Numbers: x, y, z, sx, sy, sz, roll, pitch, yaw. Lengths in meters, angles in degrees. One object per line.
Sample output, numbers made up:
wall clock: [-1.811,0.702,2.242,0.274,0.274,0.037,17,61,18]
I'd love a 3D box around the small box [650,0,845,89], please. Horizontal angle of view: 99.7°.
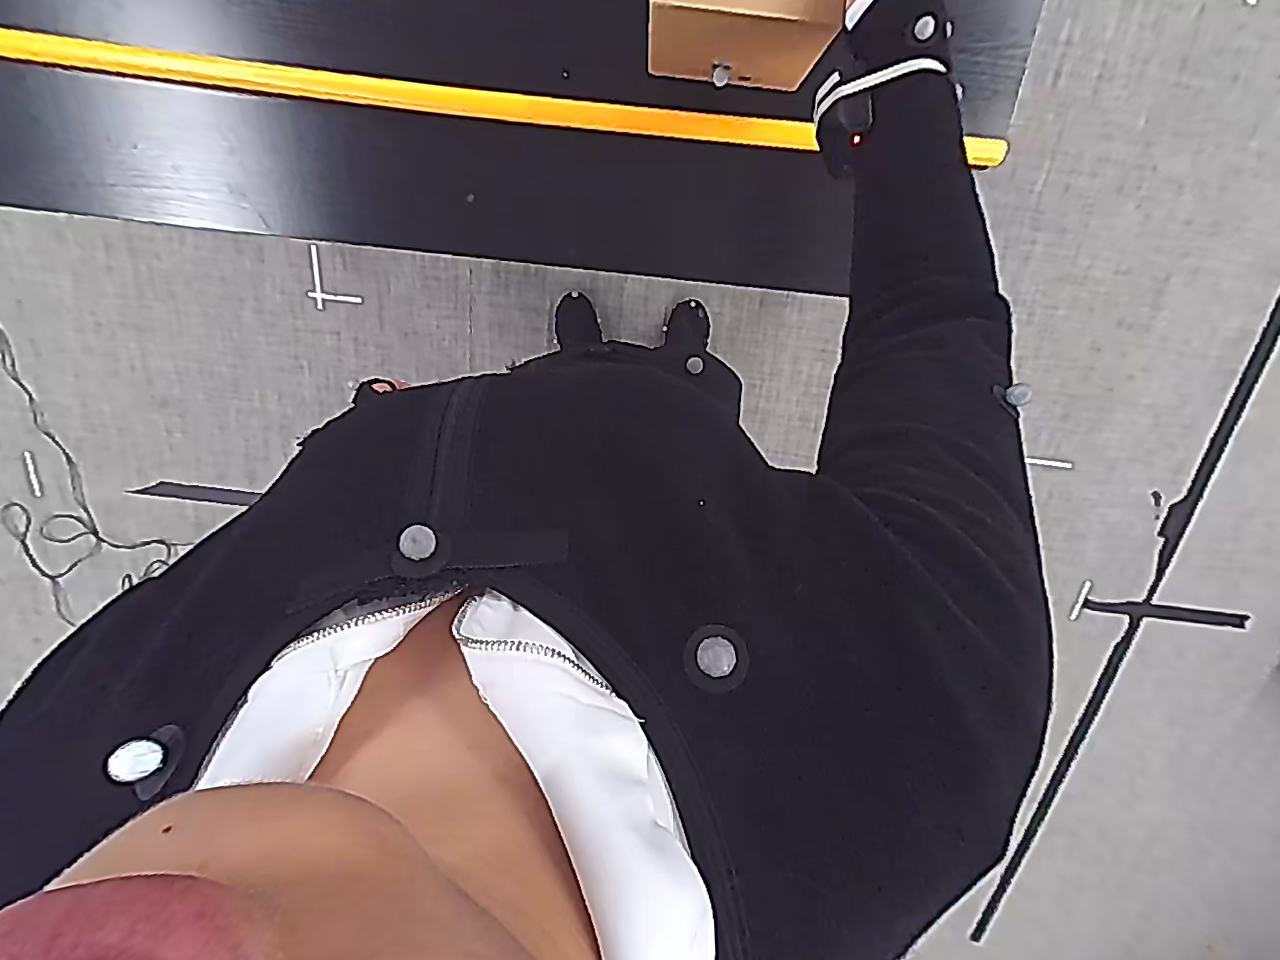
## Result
small box: [0.100,-0.501,0.500,0.168,0.176,0.179,7,110,-1]
